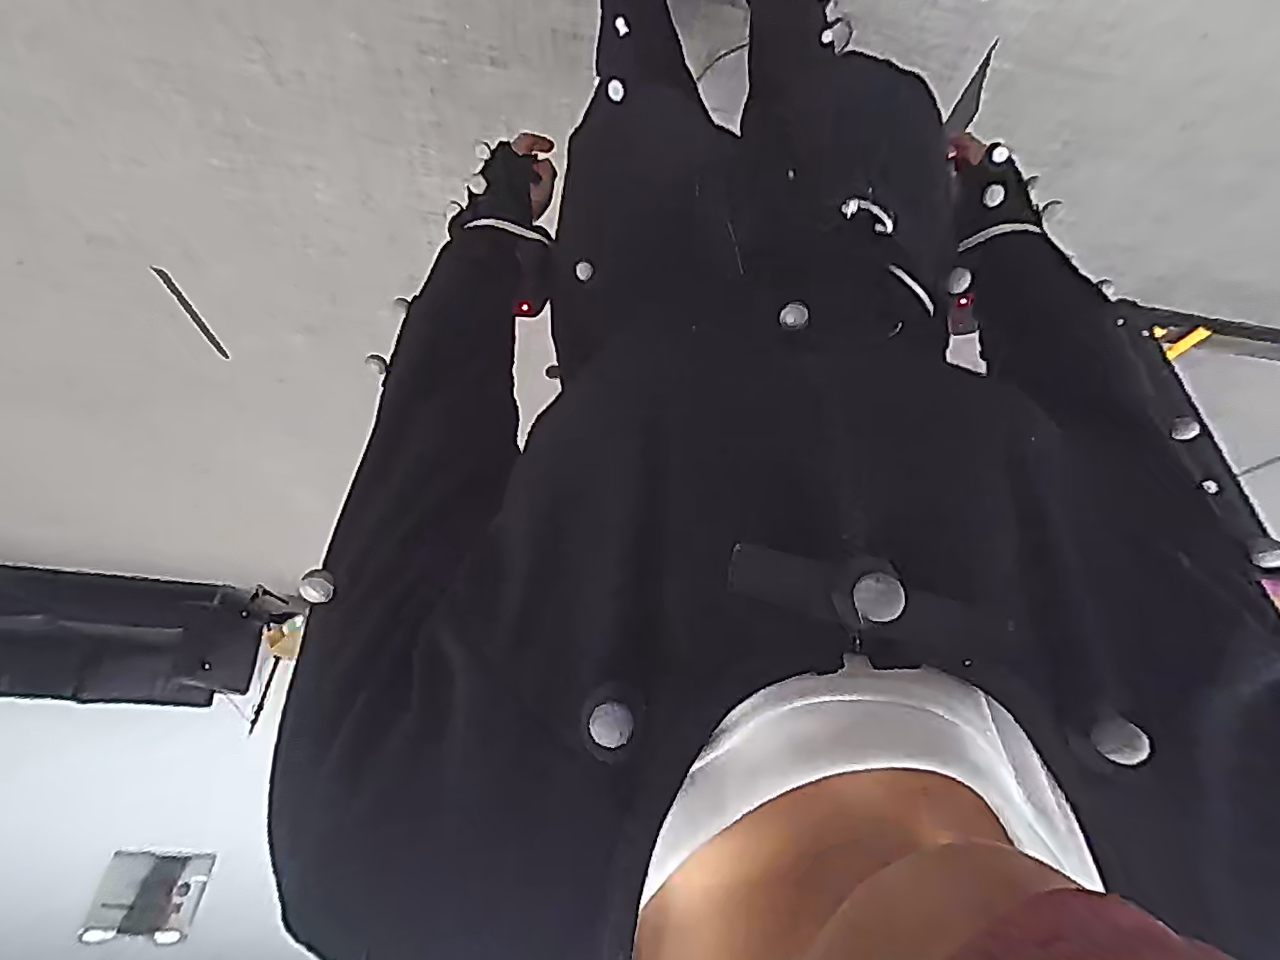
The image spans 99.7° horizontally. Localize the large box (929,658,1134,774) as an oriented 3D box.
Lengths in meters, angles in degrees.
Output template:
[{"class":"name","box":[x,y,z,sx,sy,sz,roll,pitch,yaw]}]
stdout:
[{"class":"large box","box":[1.257,0.785,1.787,0.408,0.320,0.320,6,151,-7]}]
